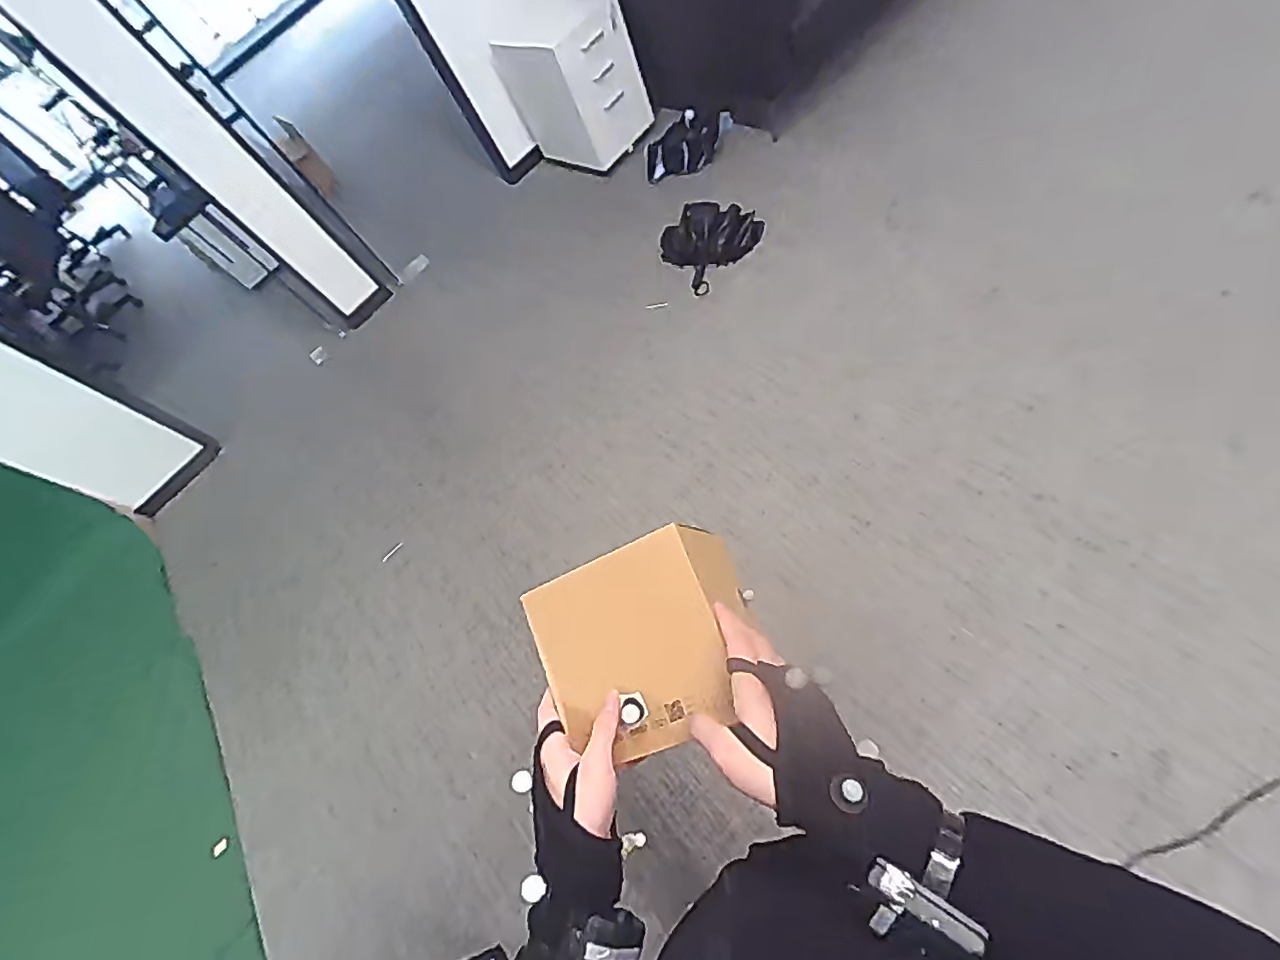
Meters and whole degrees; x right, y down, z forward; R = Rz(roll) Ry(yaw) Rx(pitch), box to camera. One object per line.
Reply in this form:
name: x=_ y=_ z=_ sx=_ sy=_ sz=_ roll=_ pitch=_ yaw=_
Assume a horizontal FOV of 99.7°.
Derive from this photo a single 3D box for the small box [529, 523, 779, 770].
small box: x=0.023 y=0.159 z=0.538 sx=0.168 sy=0.179 sz=0.176 roll=-28 pitch=73 yaw=14
